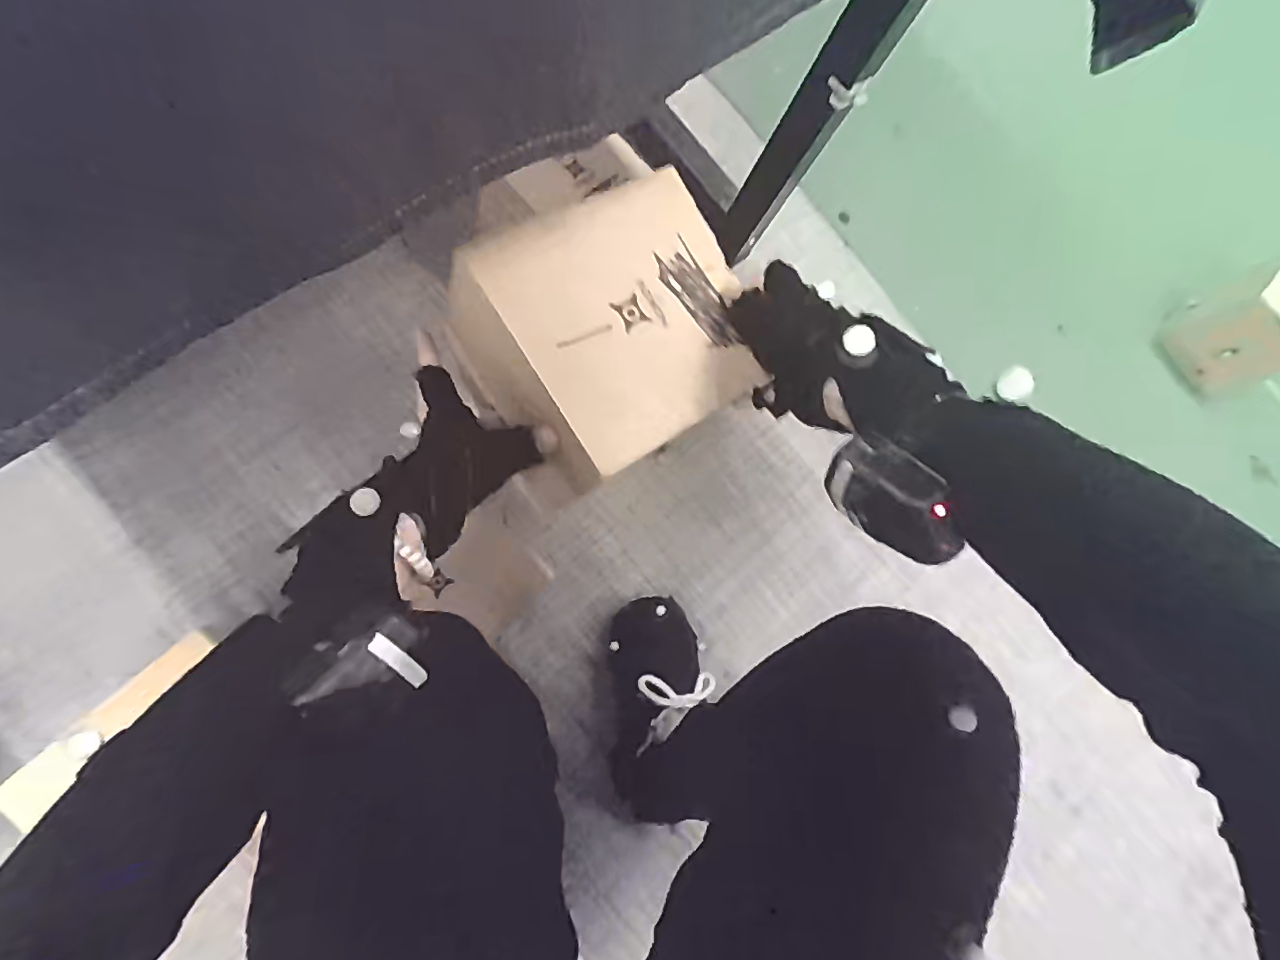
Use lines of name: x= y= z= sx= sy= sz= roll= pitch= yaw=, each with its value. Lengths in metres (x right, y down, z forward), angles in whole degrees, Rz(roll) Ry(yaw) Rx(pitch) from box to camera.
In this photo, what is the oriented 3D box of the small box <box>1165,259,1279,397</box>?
small box: x=1.168 y=-0.285 z=1.027 sx=0.179 sy=0.176 sz=0.168 roll=-40 pitch=90 yaw=-17
